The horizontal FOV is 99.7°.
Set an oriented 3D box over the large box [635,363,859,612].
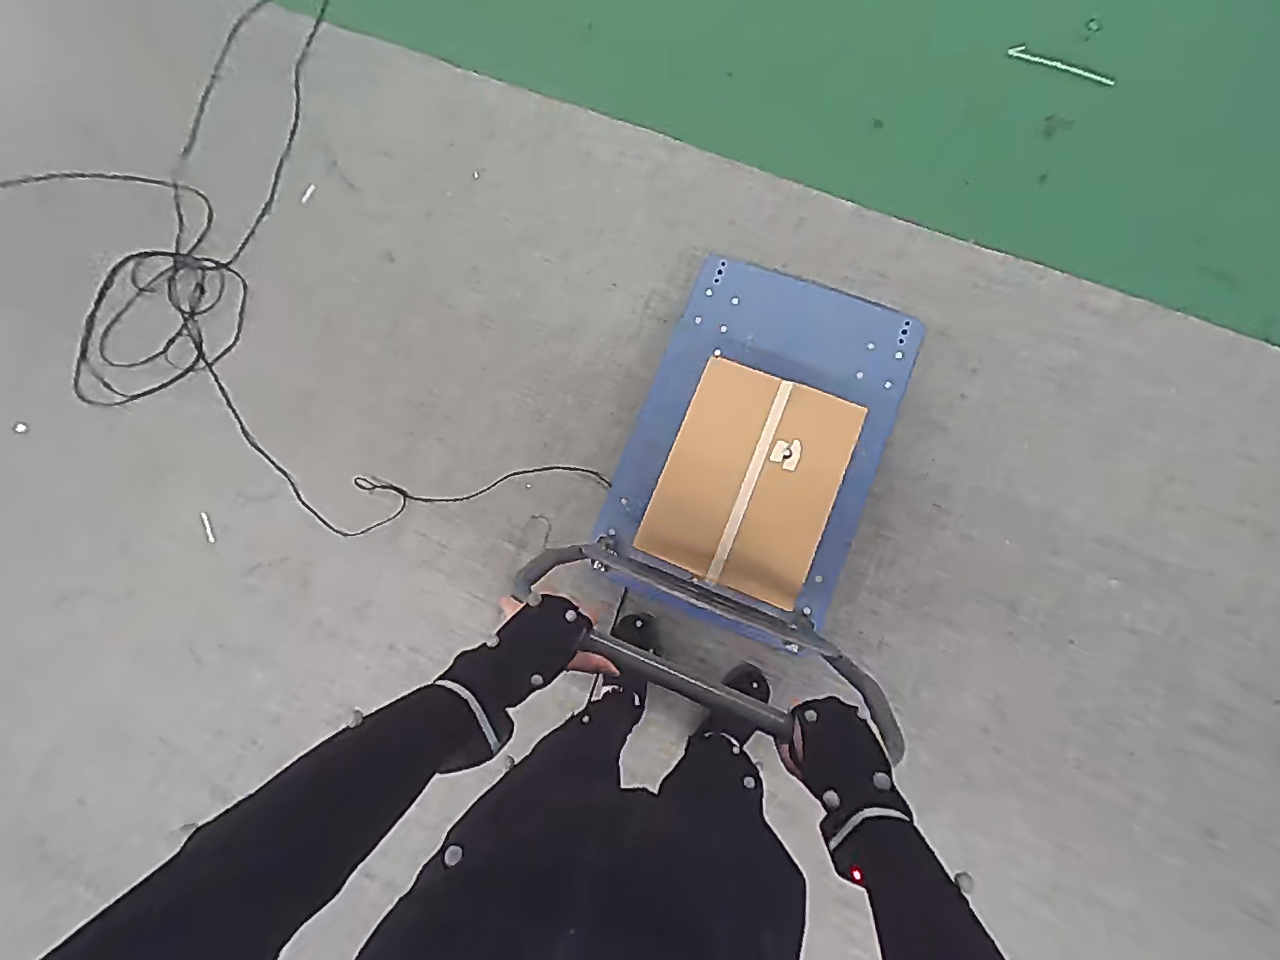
[{"bbox_3d":[0.213,0.031,1.150,0.320,0.320,0.408,21,82,8],"label":"large box"}]
